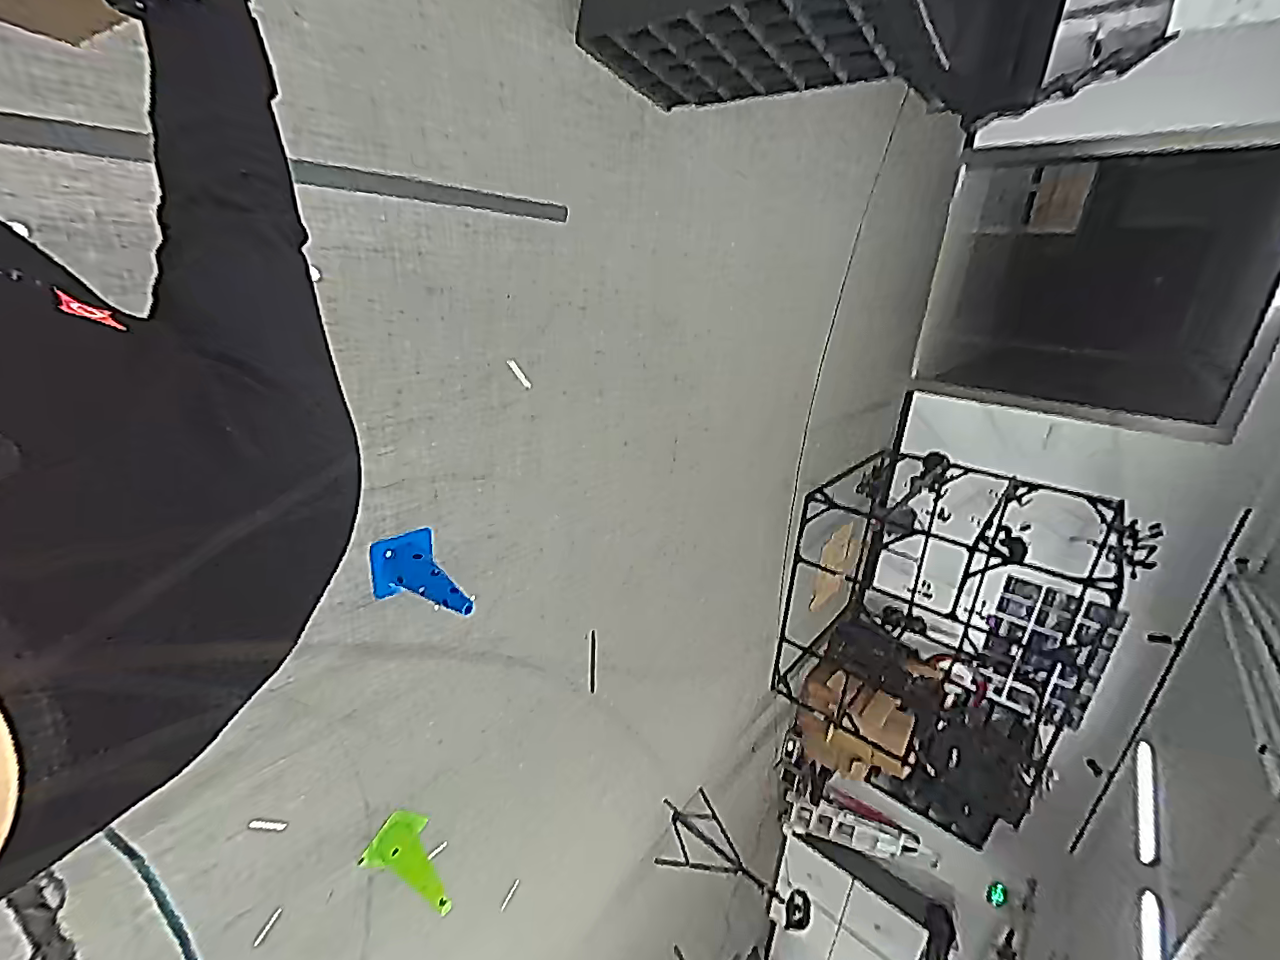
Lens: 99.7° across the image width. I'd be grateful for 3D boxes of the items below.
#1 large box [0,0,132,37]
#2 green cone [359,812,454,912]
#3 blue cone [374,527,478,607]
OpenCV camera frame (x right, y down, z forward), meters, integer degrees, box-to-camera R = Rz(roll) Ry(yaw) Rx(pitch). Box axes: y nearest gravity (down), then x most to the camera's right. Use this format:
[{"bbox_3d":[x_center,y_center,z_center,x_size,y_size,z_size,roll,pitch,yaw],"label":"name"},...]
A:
[{"bbox_3d":[-0.546,-0.490,0.250,0.408,0.320,0.320,-13,122,-51],"label":"large box"},{"bbox_3d":[-0.779,1.383,1.906,0.202,0.368,0.200,-55,143,-22],"label":"green cone"},{"bbox_3d":[-0.625,0.297,1.626,0.192,0.380,0.193,-17,119,-49],"label":"blue cone"}]
